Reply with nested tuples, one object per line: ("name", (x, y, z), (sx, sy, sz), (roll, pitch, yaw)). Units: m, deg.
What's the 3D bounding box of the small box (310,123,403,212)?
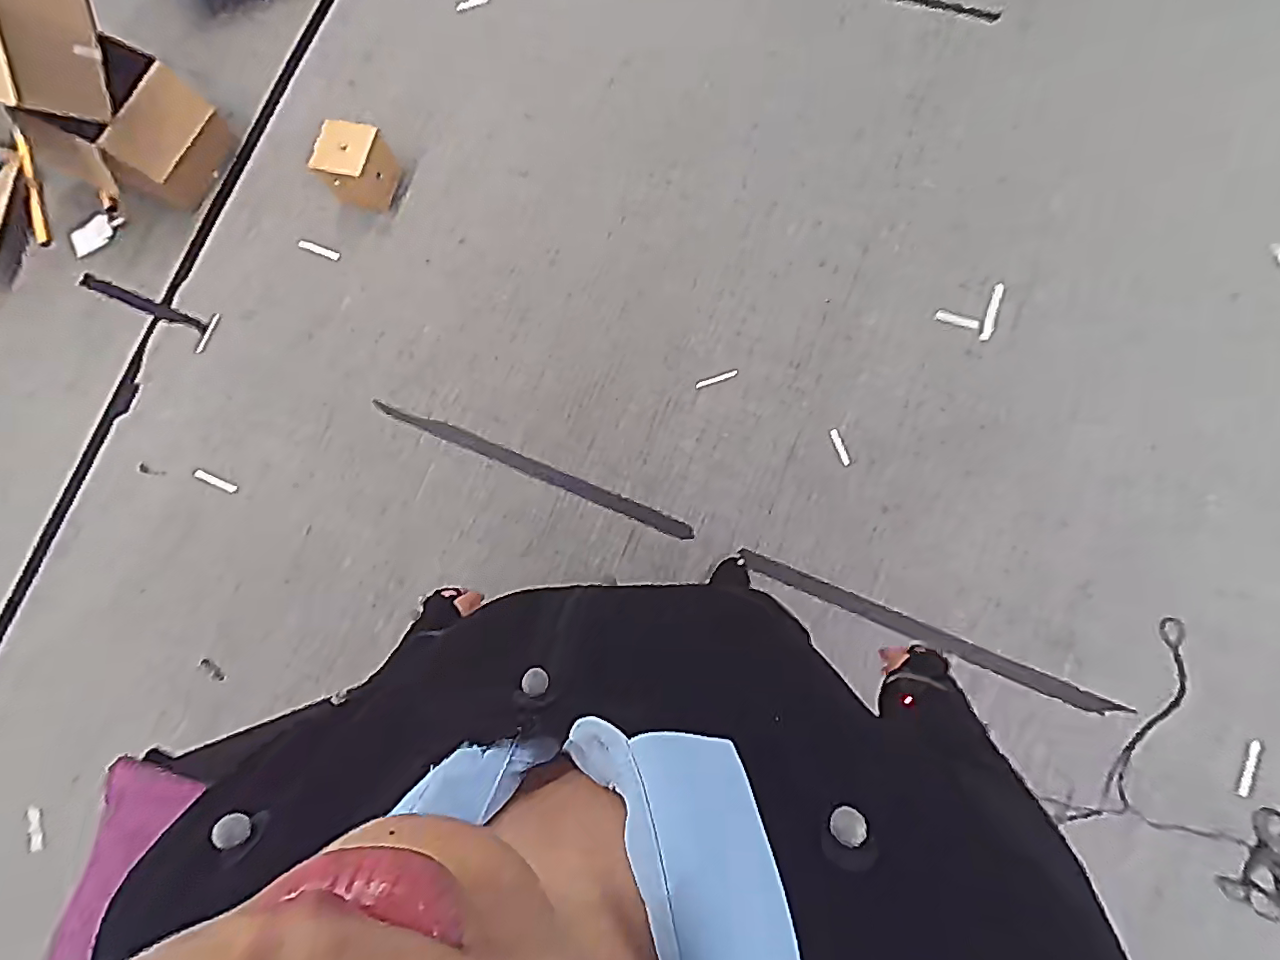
("small box", (-0.882, -0.975, 1.700), (0.179, 0.176, 0.168), (14, 82, 8))
